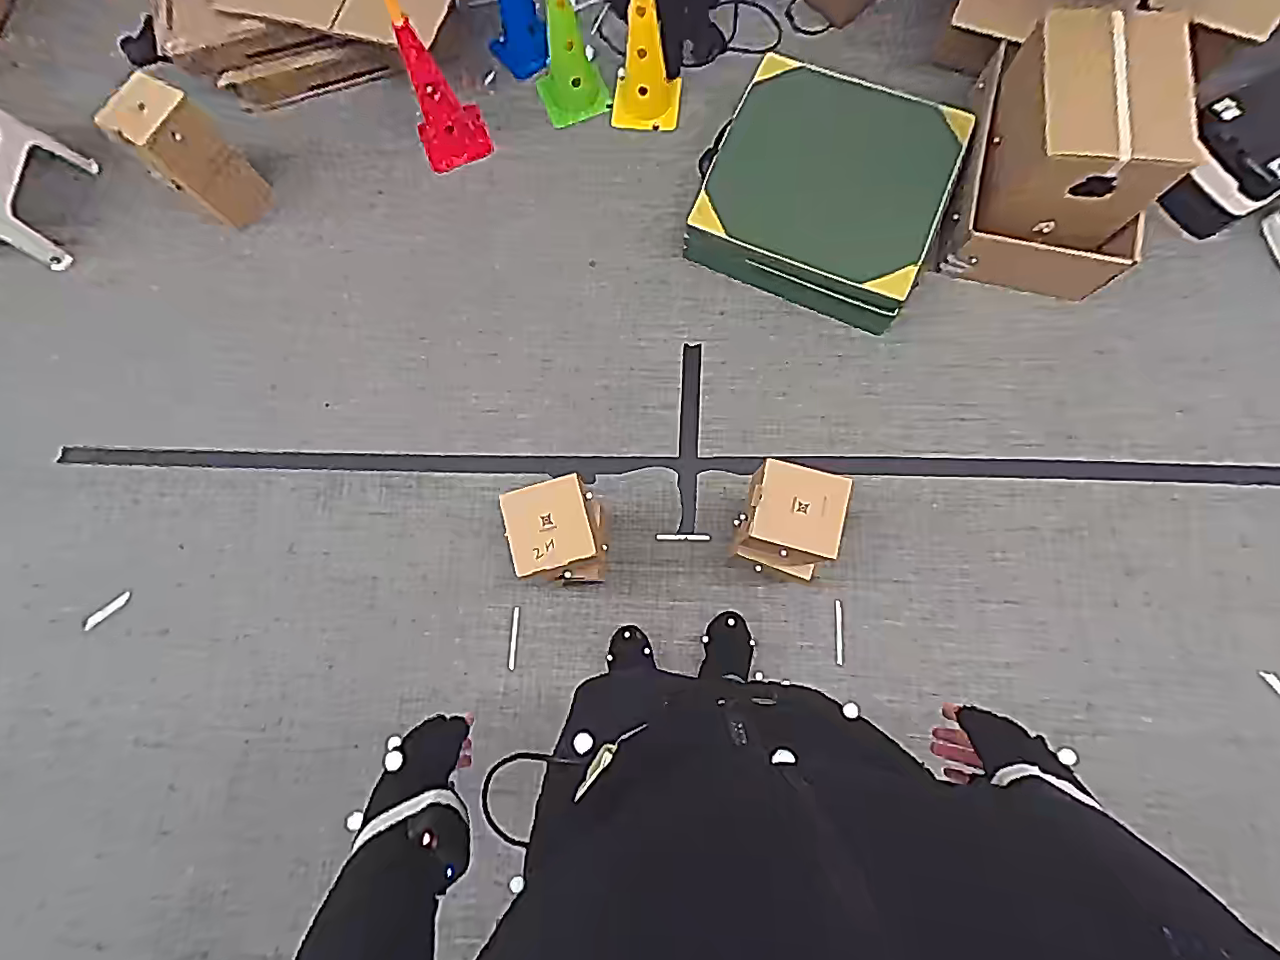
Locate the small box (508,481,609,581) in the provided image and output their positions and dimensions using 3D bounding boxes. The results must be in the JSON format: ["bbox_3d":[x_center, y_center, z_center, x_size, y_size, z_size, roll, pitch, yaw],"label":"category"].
[{"bbox_3d":[-0.168,0.116,1.159,0.168,0.176,0.179,-13,79,2],"label":"small box"}]

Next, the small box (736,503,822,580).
[{"bbox_3d":[0.339,0.137,1.293,0.179,0.176,0.168,17,79,6],"label":"small box"}]

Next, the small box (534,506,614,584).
[{"bbox_3d":[-0.154,0.162,1.317,0.168,0.176,0.179,0,77,4],"label":"small box"}]

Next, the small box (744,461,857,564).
[{"bbox_3d":[0.328,0.075,1.138,0.179,0.176,0.168,15,80,6],"label":"small box"}]
